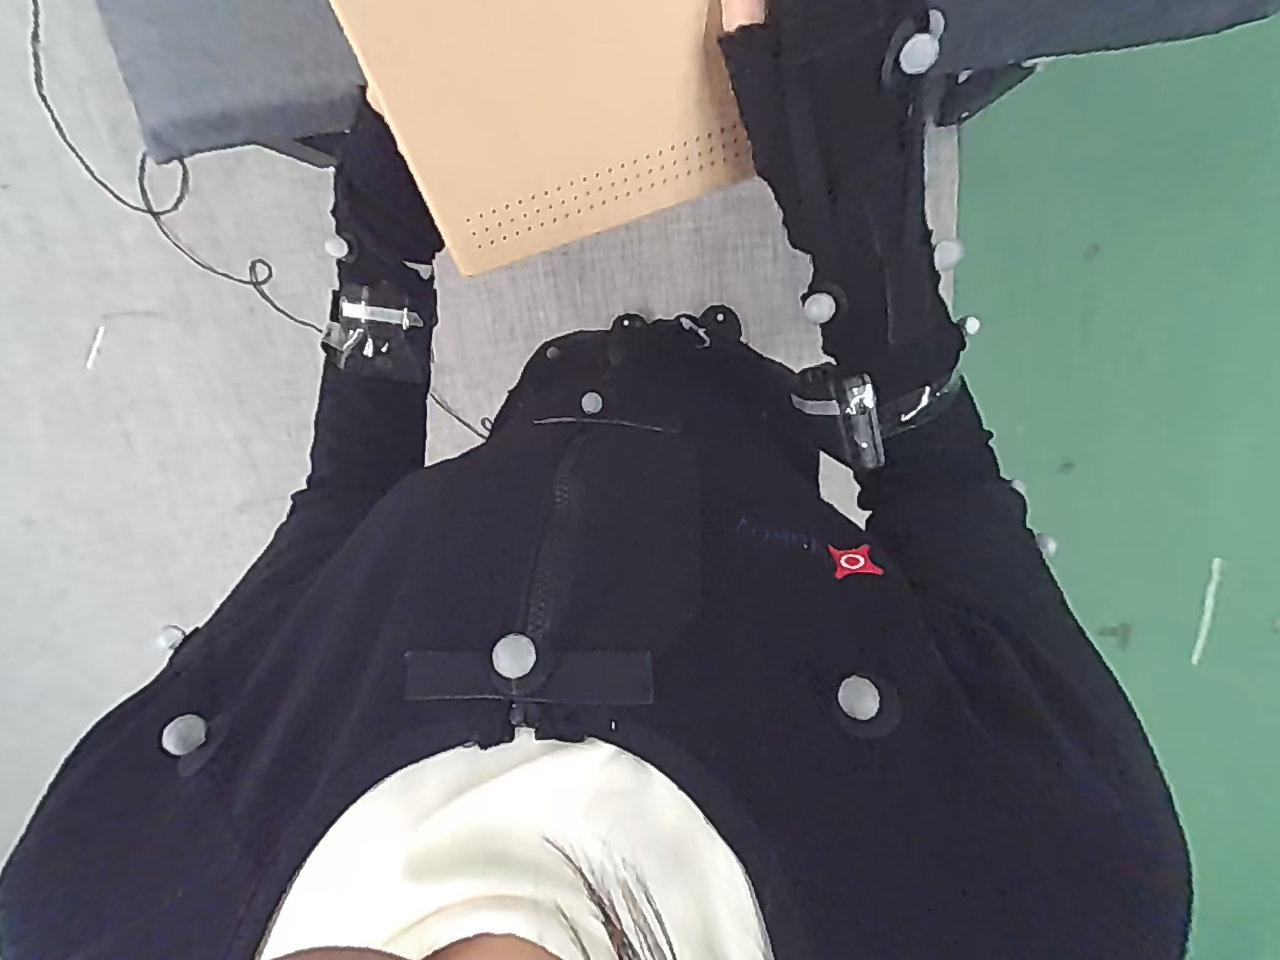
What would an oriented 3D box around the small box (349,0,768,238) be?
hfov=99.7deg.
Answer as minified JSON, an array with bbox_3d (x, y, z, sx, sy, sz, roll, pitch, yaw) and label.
[{"bbox_3d":[-0.049,-0.247,0.265,0.179,0.168,0.176,-21,140,-5],"label":"small box"}]
